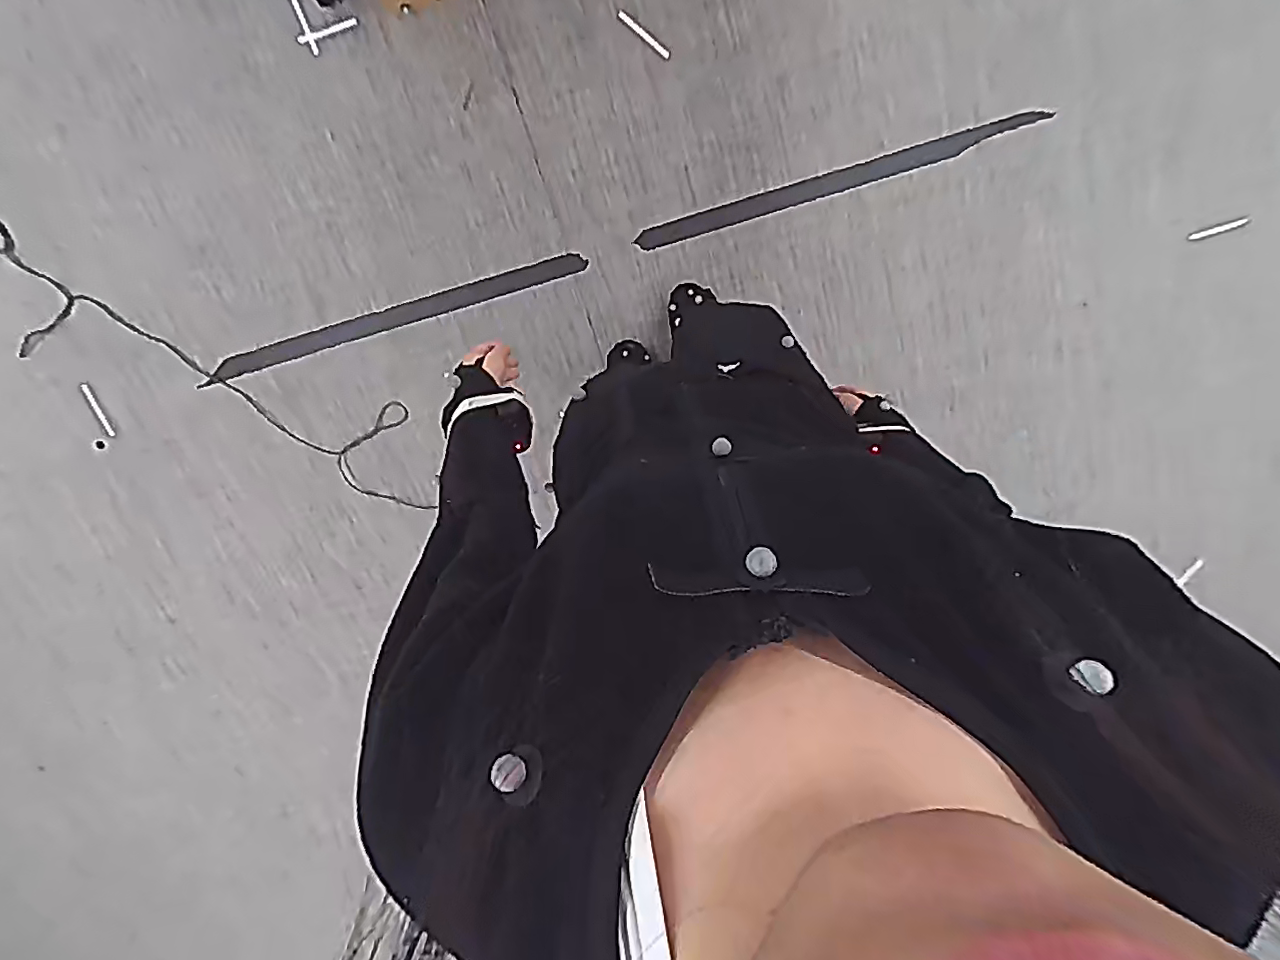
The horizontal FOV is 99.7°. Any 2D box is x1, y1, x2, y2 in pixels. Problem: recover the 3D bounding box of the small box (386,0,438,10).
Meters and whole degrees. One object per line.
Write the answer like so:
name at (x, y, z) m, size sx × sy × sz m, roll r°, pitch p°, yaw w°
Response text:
small box at (-0.479, -1.096, 1.085) m, size 0.168 × 0.176 × 0.179 m, roll -16°, pitch 105°, yaw 1°
